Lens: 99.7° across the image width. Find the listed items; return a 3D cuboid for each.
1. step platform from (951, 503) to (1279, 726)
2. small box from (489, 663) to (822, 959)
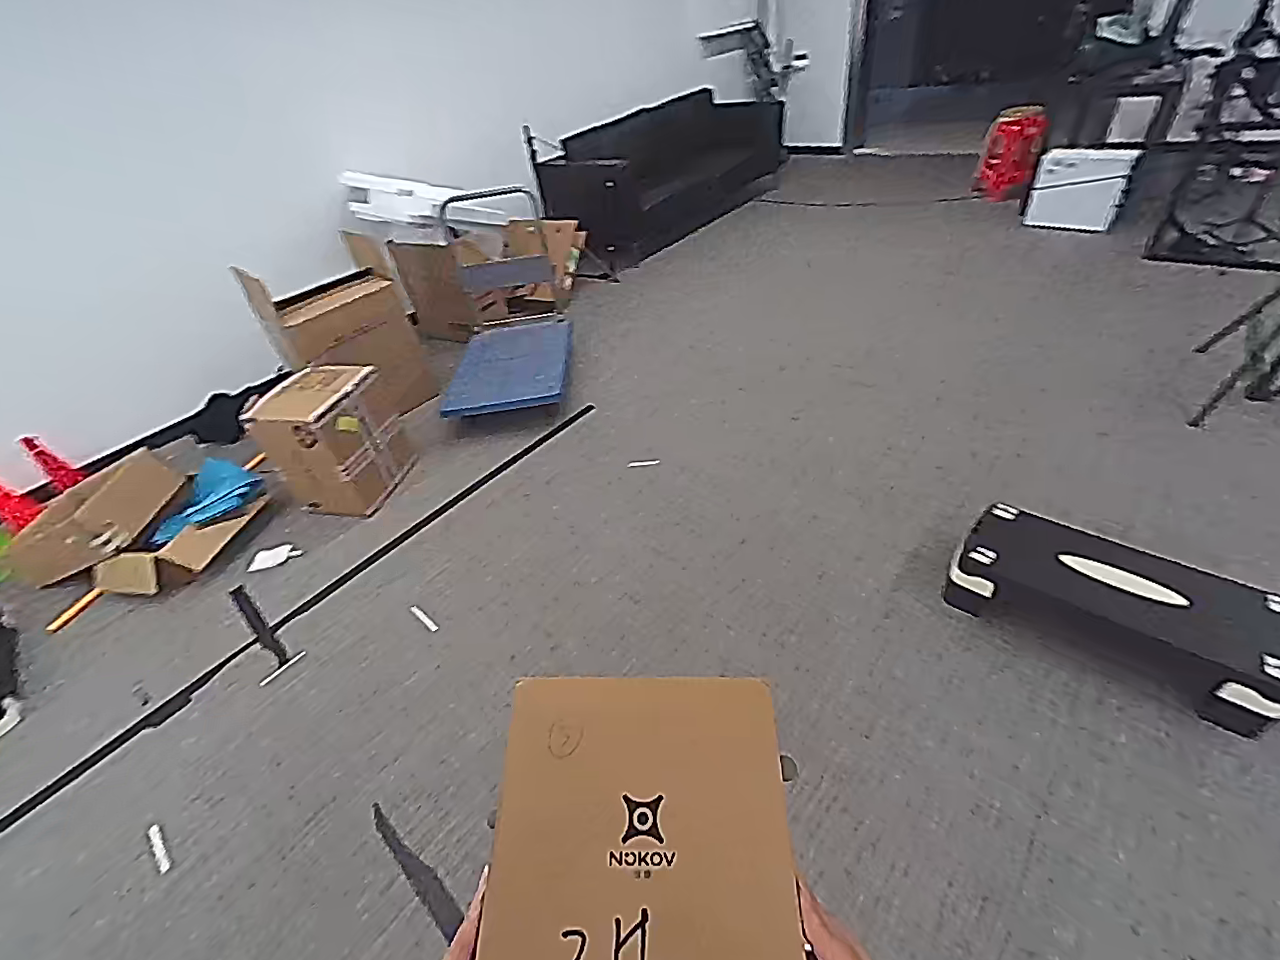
[{"bbox_3d":[1.218,0.303,1.400,0.684,0.204,0.286,24,50,35],"label":"step platform"},{"bbox_3d":[0.012,0.239,0.362,0.168,0.176,0.179,0,52,3],"label":"small box"}]
